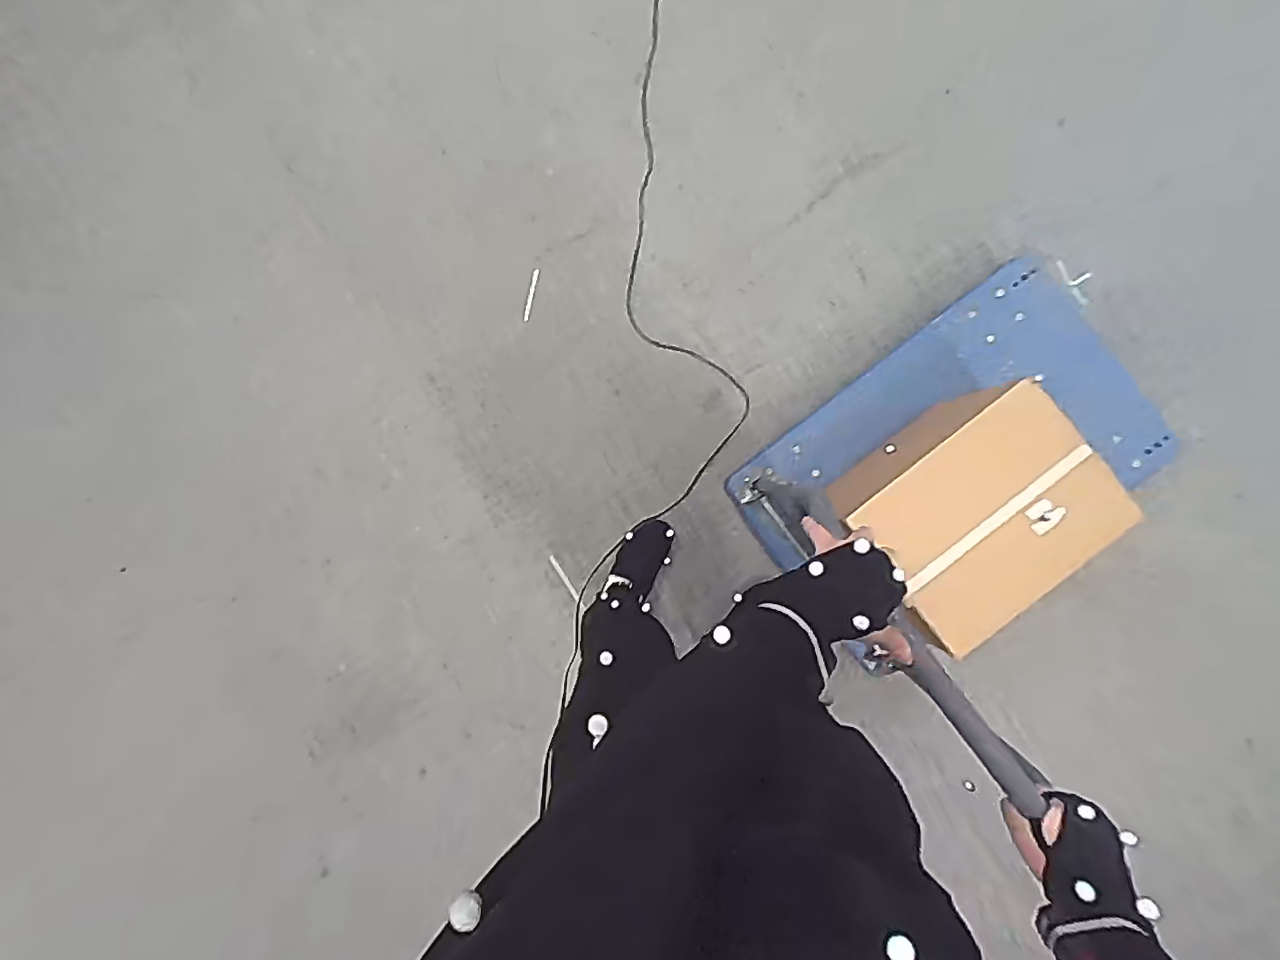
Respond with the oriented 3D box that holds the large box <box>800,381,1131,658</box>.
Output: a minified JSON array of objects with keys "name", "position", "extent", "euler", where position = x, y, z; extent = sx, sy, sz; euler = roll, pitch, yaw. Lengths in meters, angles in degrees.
[{"name":"large box","position":[0.603,0.073,1.083],"extent":[0.408,0.320,0.320],"euler":[-38,89,0]}]
